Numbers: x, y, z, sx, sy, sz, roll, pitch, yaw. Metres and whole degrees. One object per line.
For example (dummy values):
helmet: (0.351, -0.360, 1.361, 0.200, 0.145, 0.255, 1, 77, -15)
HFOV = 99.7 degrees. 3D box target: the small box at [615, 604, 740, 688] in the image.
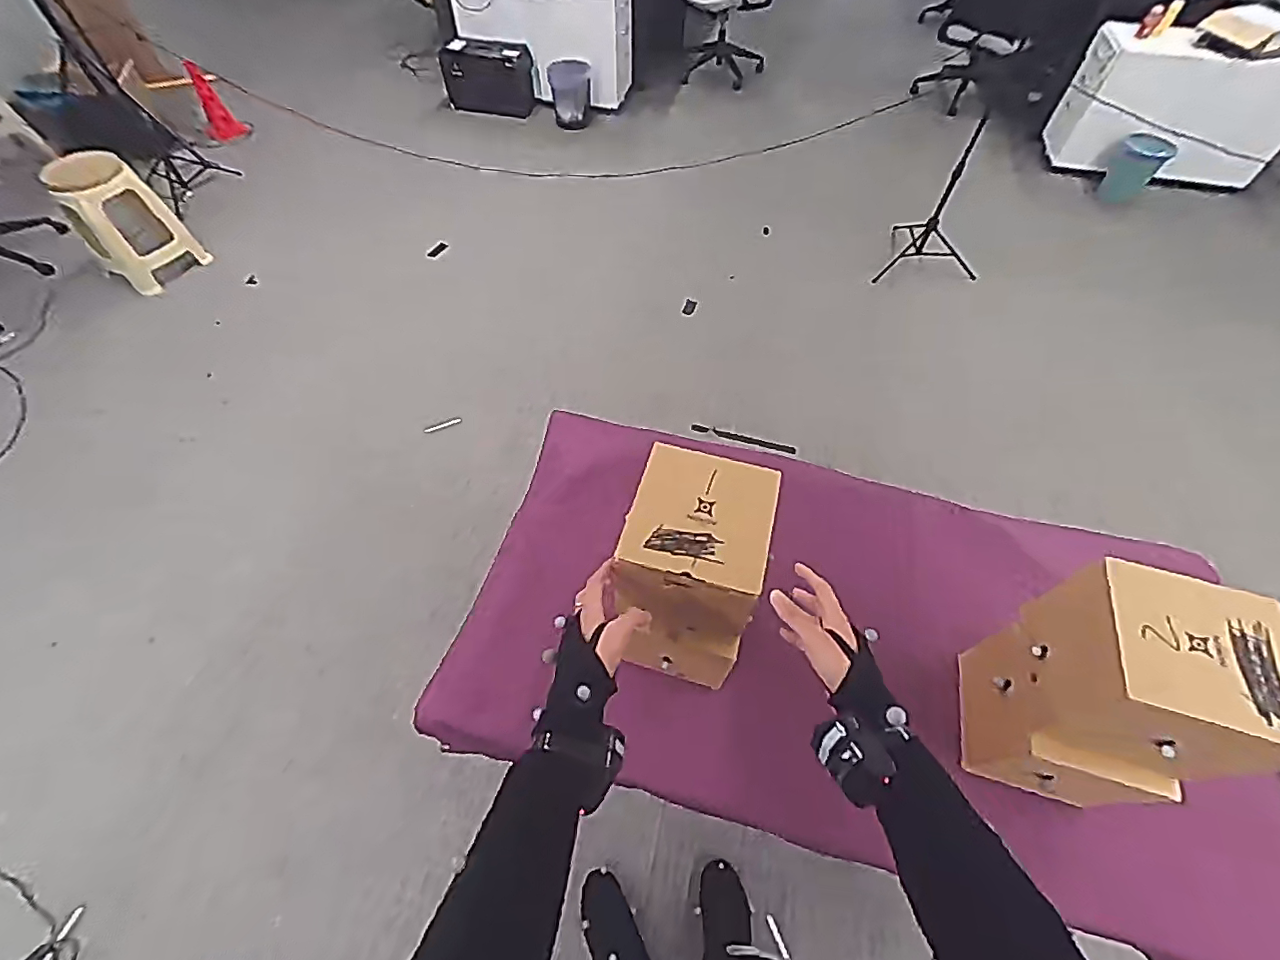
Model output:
small box: (0.069, 0.196, 0.826, 0.168, 0.176, 0.179, 15, 57, 9)

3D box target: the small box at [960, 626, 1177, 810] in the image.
small box: (0.565, 0.332, 0.745, 0.168, 0.176, 0.179, 15, 56, 9)

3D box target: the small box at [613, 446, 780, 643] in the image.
small box: (0.071, 0.089, 0.700, 0.168, 0.176, 0.179, 15, 56, 8)
